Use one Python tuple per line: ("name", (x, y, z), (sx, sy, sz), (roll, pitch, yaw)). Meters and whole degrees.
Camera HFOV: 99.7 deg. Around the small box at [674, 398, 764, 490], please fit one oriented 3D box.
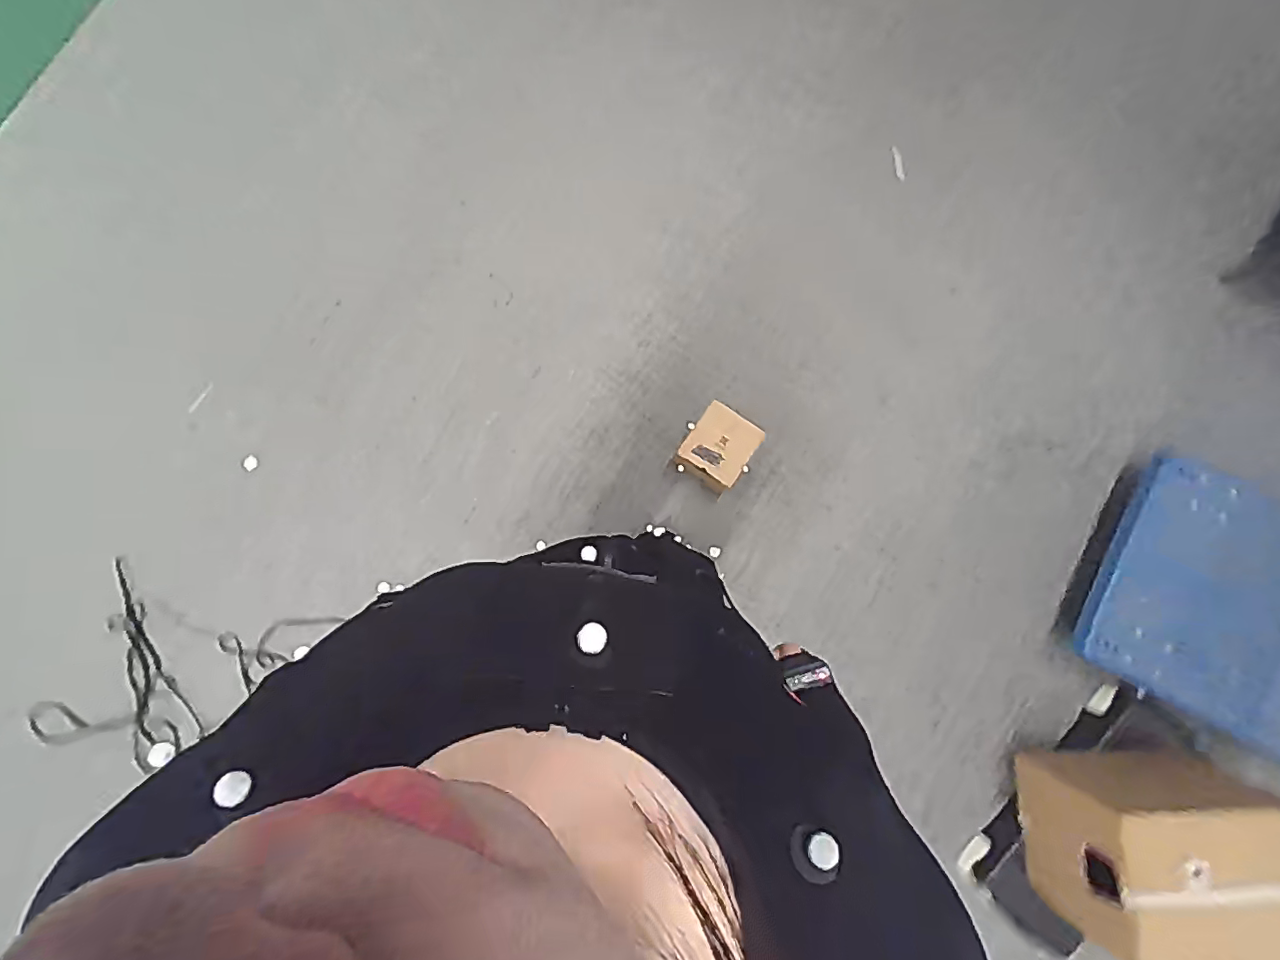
("small box", (0.205, -0.088, 1.456), (0.168, 0.176, 0.179), (35, 85, 2))
